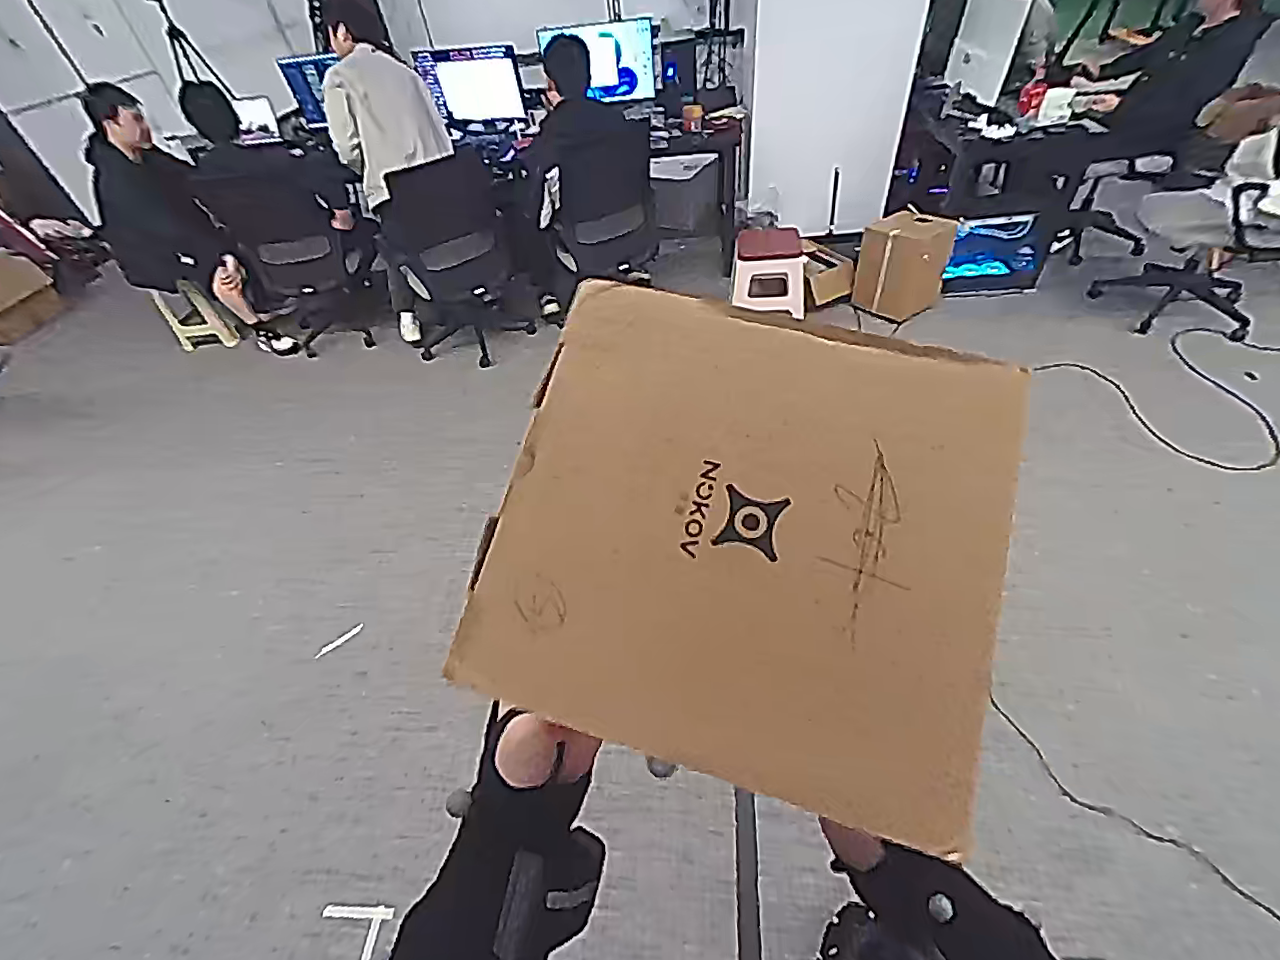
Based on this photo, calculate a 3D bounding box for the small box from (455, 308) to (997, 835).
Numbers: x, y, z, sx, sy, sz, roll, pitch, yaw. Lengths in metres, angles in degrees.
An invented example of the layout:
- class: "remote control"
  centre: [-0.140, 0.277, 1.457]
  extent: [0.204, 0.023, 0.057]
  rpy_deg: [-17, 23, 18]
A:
- class: "small box"
  centre: [0.042, 0.040, 0.279]
  extent: [0.179, 0.176, 0.168]
  rpy_deg: [13, 77, 9]
